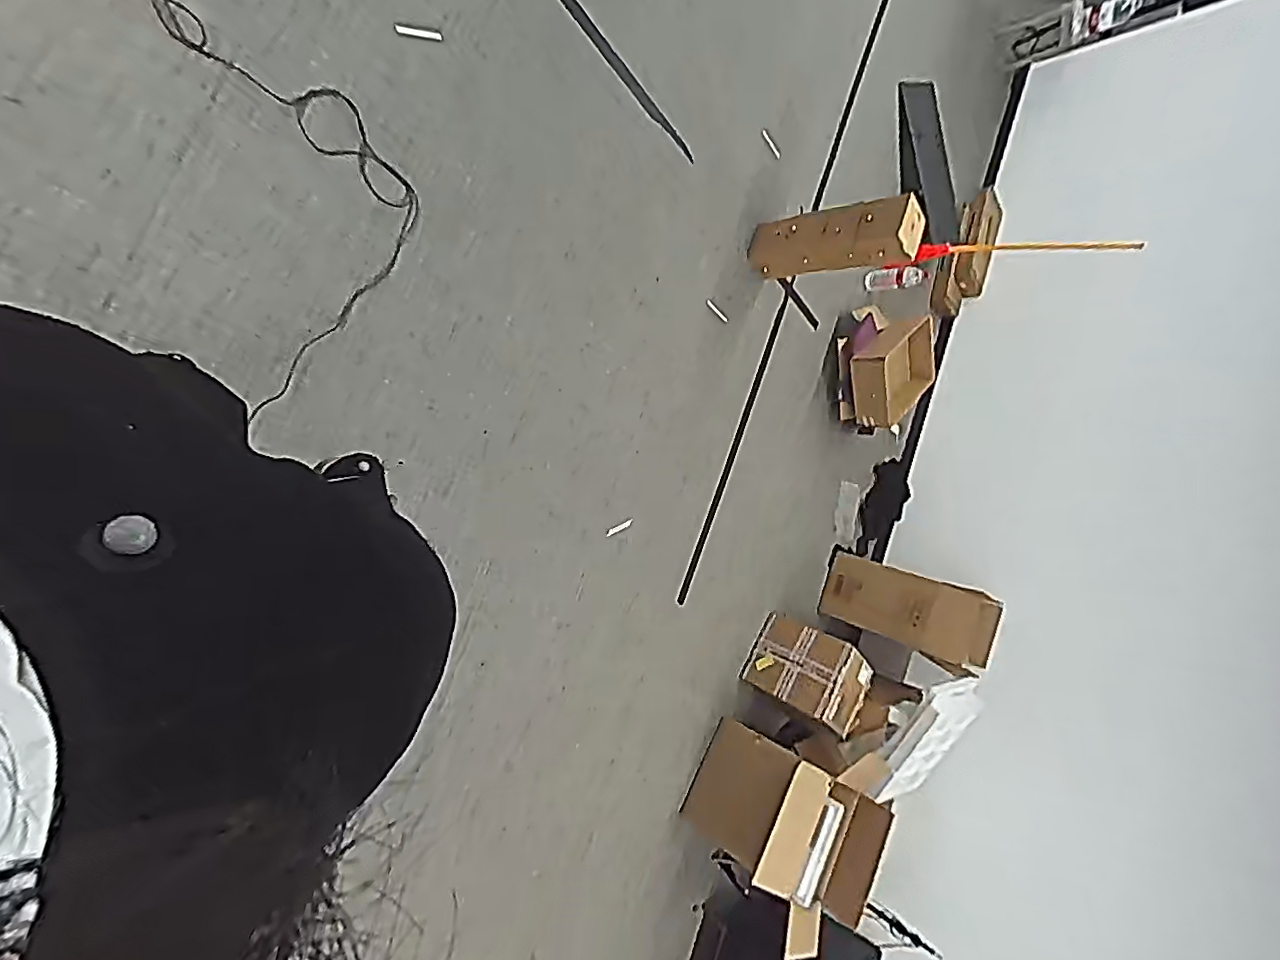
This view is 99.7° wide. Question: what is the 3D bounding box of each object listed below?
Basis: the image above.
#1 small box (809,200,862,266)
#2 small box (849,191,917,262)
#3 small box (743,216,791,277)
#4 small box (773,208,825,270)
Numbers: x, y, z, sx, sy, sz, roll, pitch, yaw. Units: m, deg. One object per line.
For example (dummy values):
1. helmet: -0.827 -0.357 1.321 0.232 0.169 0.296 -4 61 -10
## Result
1. small box: 0.800 -0.977 2.157 0.179 0.176 0.168 27 81 -44
2. small box: 0.914 -0.948 2.042 0.168 0.176 0.179 26 82 -43
3. small box: 0.581 -1.028 2.393 0.168 0.176 0.179 28 80 -43
4. small box: 0.689 -1.004 2.272 0.179 0.176 0.168 27 79 -43
